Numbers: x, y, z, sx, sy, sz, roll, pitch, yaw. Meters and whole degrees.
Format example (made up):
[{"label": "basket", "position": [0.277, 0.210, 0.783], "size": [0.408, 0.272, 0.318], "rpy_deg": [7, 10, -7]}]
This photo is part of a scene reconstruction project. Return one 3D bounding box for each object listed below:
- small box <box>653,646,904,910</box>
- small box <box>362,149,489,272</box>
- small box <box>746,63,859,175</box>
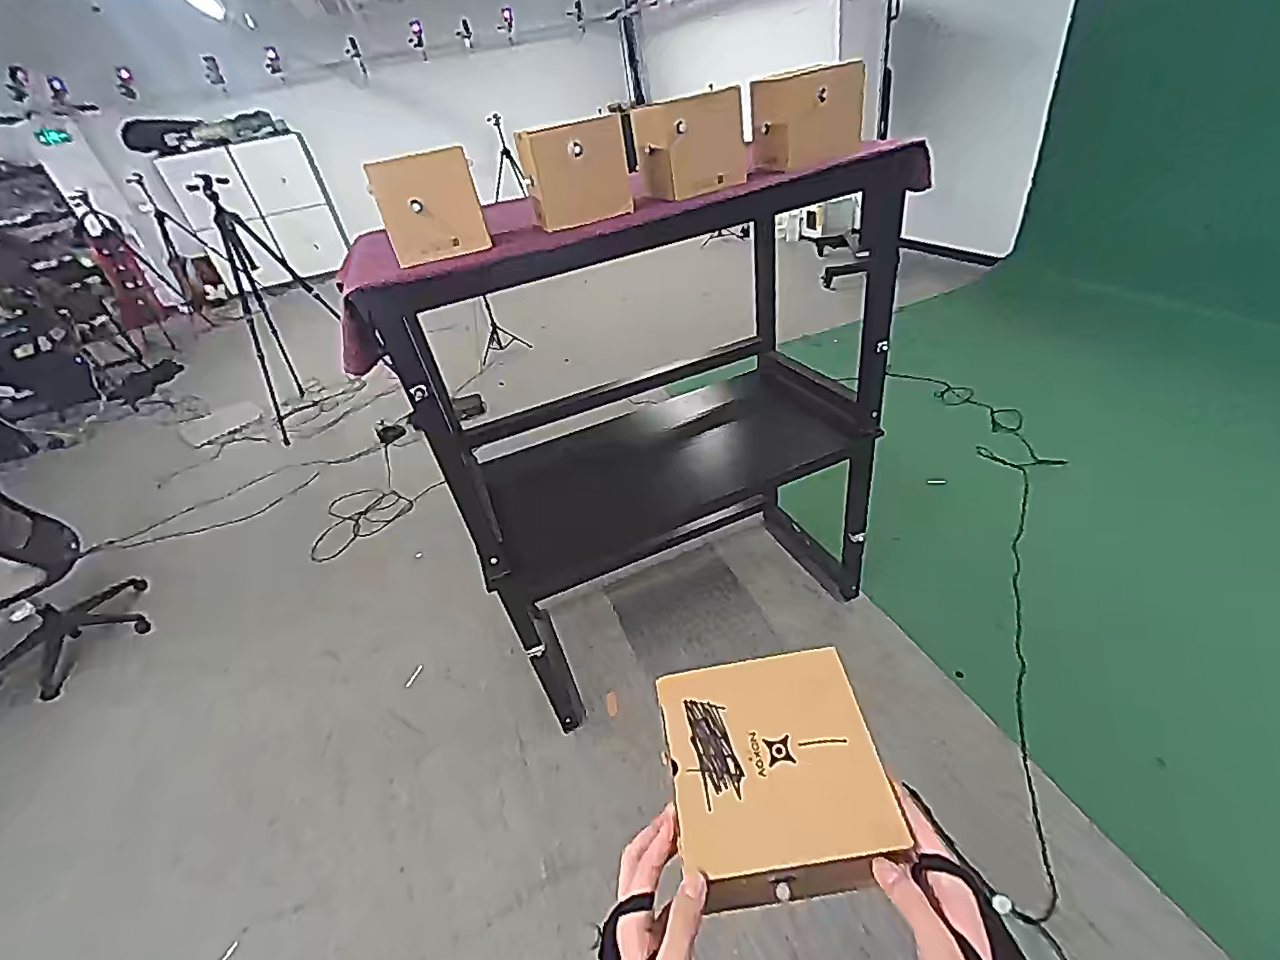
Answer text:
[{"label": "small box", "position": [0.118, 0.285, 0.514], "size": [0.179, 0.176, 0.168], "rpy_deg": [-11, 44, 2]}, {"label": "small box", "position": [-0.387, -0.496, 1.001], "size": [0.168, 0.176, 0.179], "rpy_deg": [-18, 34, -9]}, {"label": "small box", "position": [0.347, -0.771, 1.164], "size": [0.179, 0.176, 0.168], "rpy_deg": [-19, 37, -8]}]
